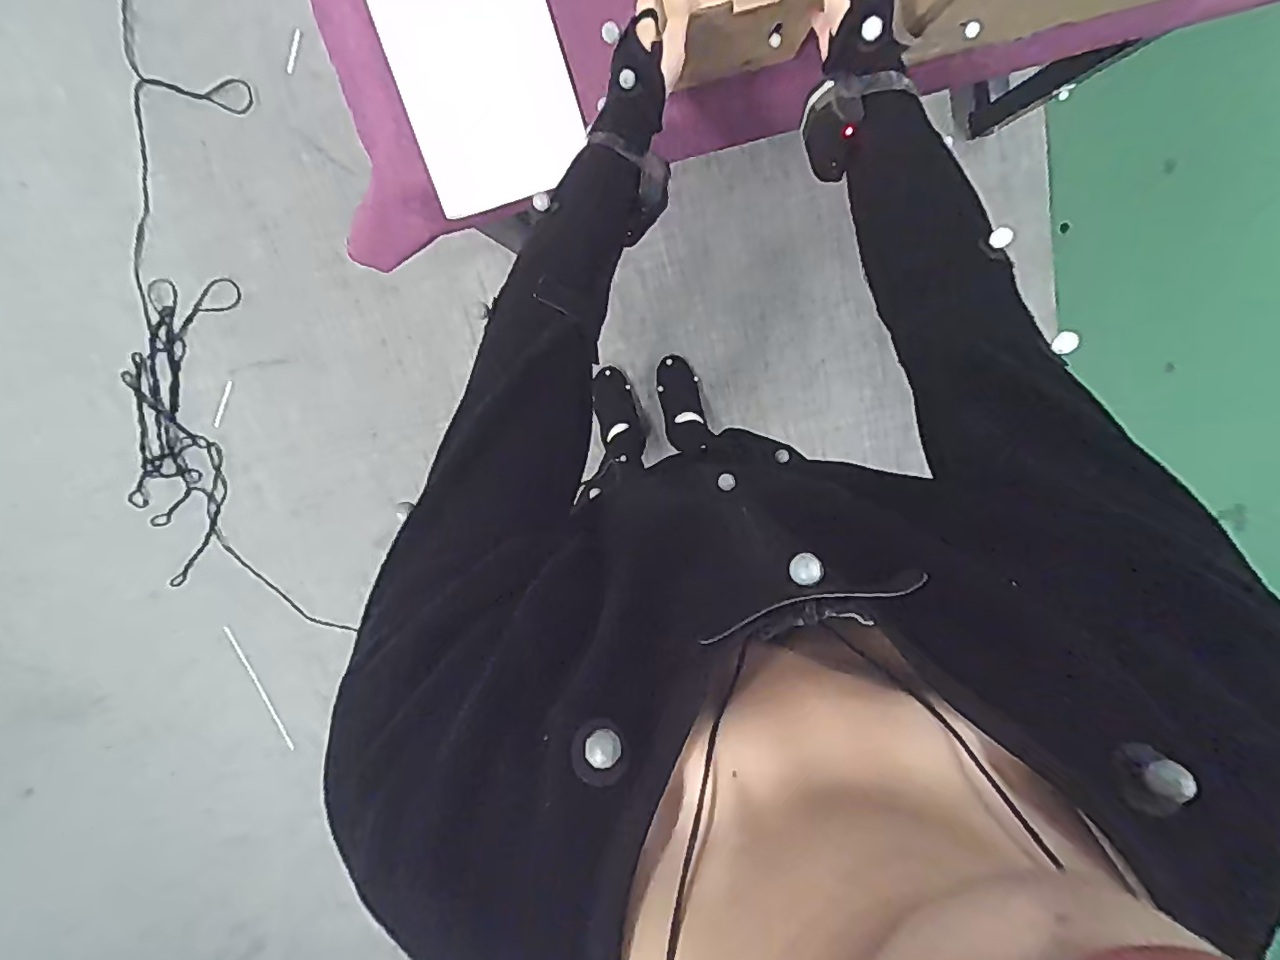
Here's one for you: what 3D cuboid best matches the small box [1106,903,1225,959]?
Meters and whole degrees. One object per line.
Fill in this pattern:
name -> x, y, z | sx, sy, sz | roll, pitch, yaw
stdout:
small box -> 1.209, 1.118, 1.221 | 0.179, 0.176, 0.168 | -28, 102, 6

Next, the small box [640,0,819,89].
small box -> 0.084, -0.531, 0.545 | 0.168, 0.176, 0.179 | -13, 105, 3

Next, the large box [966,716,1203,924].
large box -> 1.295, 0.995, 1.612 | 0.408, 0.320, 0.320 | -28, 103, 6

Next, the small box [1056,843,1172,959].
small box -> 1.211, 1.079, 1.381 | 0.179, 0.176, 0.168 | -24, 103, 7
